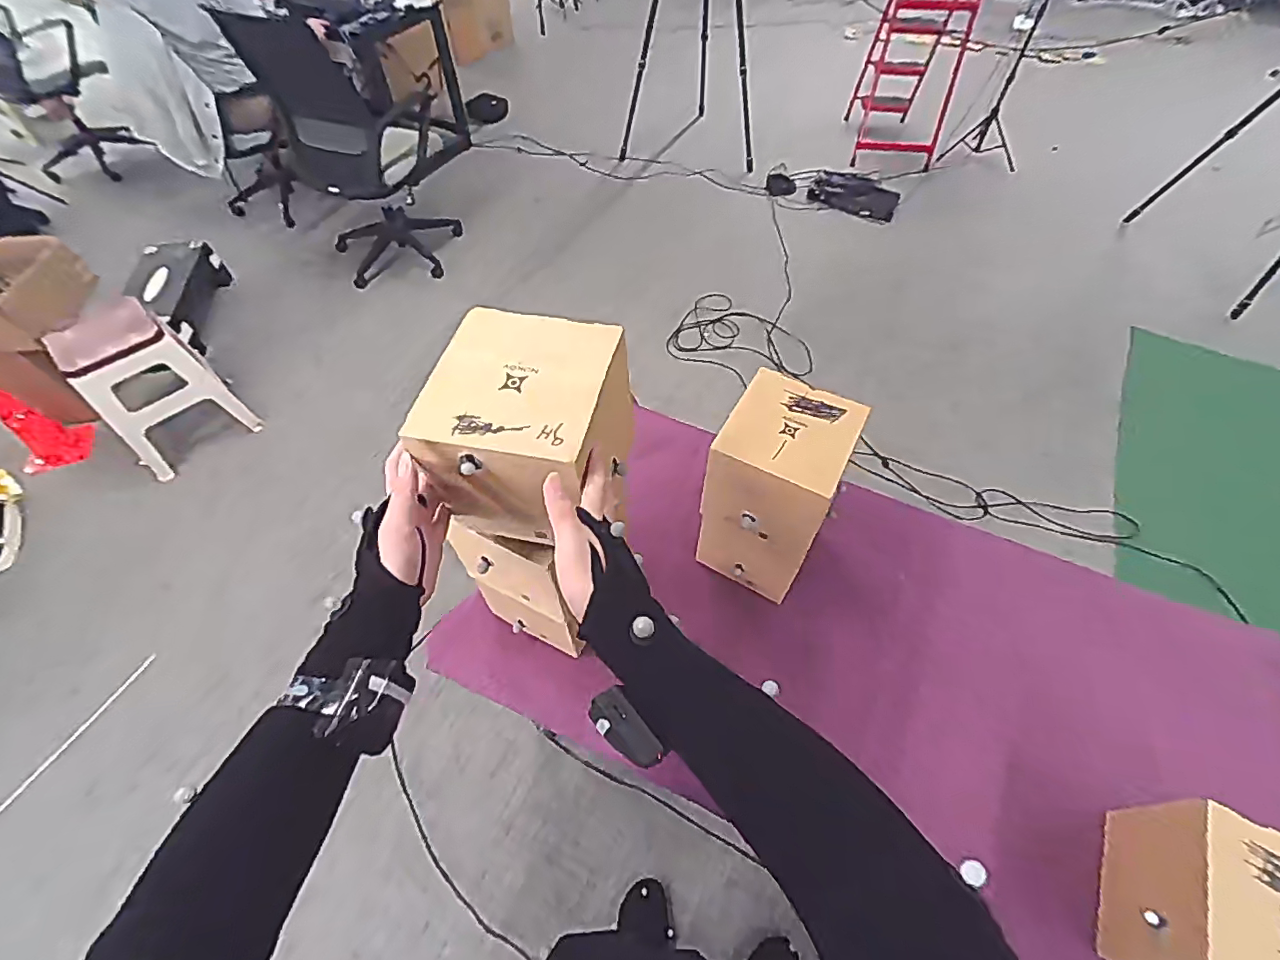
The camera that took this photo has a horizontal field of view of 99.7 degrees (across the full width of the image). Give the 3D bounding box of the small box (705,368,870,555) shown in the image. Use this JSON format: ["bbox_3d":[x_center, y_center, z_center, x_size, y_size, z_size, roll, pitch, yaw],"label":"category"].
[{"bbox_3d":[0.203,-0.024,0.785,0.168,0.176,0.179,25,59,17],"label":"small box"}]

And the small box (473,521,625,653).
[{"bbox_3d":[-0.135,0.145,0.870,0.168,0.176,0.179,22,57,16],"label":"small box"}]

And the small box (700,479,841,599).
[{"bbox_3d":[0.212,0.068,0.921,0.168,0.176,0.179,27,60,18],"label":"small box"}]

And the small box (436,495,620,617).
[{"bbox_3d":[-0.135,0.057,0.735,0.168,0.176,0.179,22,56,17],"label":"small box"}]

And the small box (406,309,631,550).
[{"bbox_3d":[-0.107,-0.051,0.572,0.168,0.176,0.179,9,57,9],"label":"small box"}]
